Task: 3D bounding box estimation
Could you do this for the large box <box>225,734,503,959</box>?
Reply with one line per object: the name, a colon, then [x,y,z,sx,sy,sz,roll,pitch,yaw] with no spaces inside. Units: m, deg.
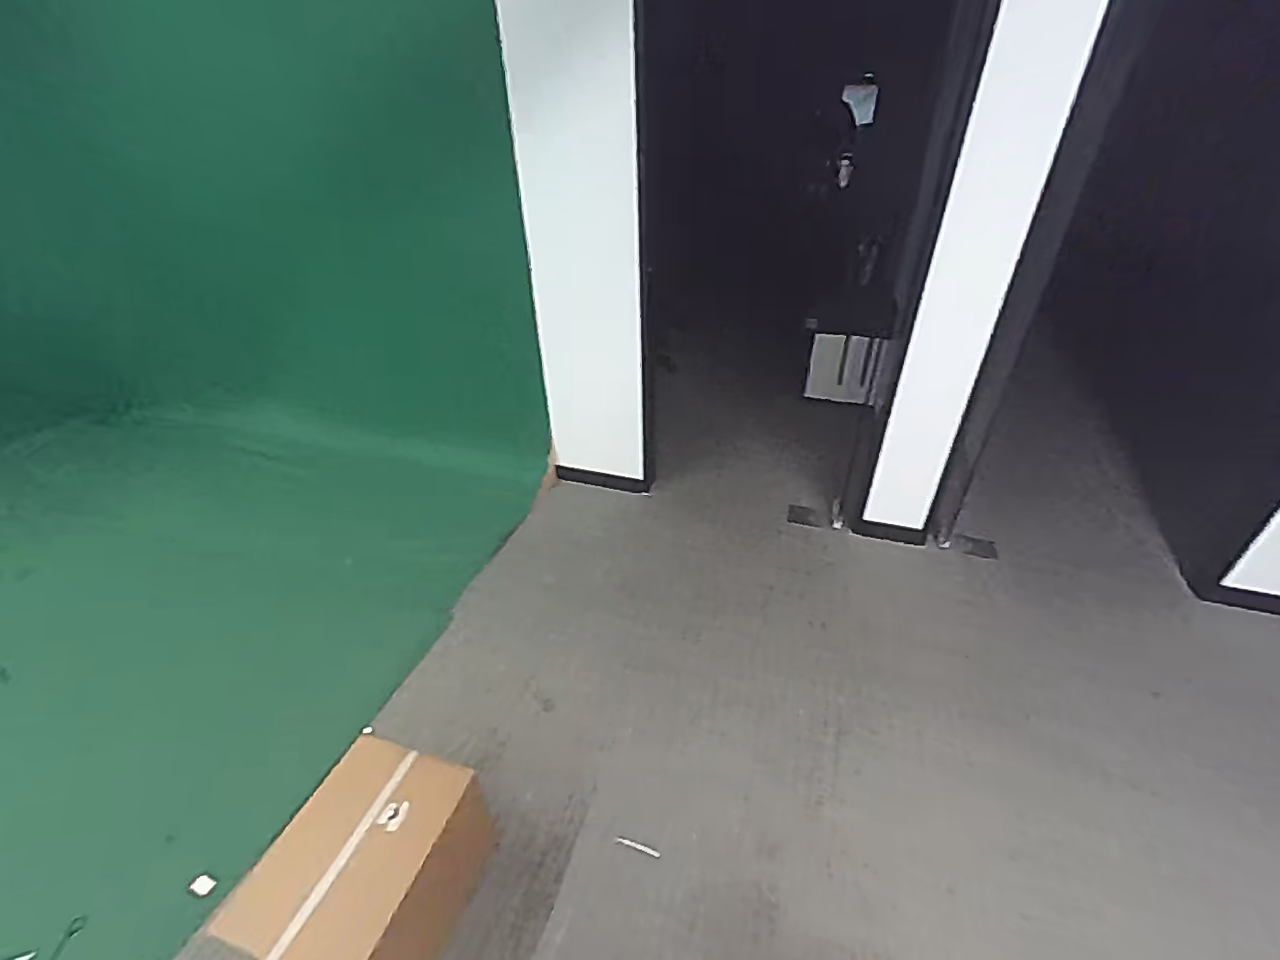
large box: [-0.554,0.859,1.180,0.320,0.320,0.408,9,35,16]
